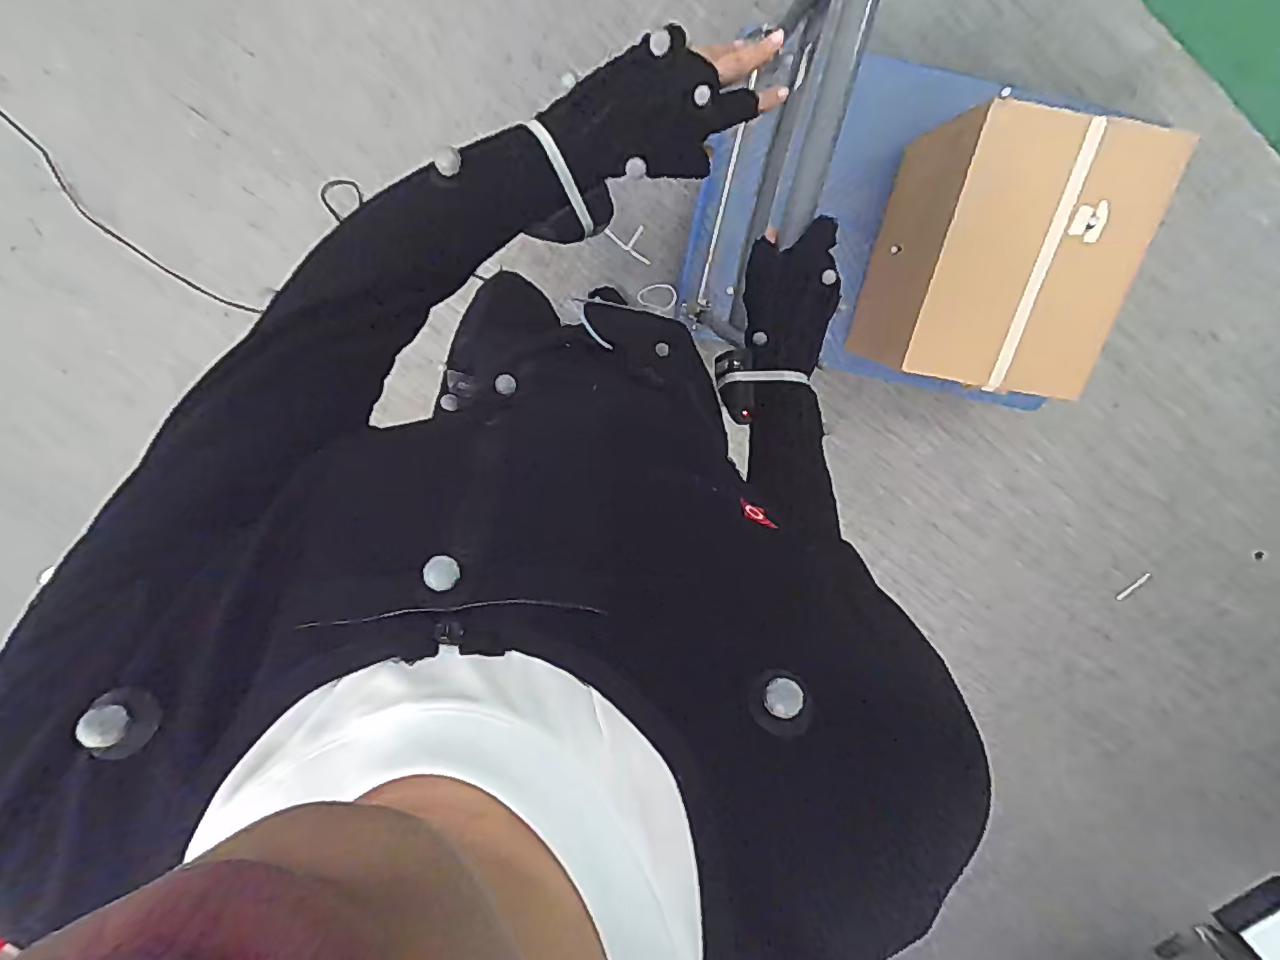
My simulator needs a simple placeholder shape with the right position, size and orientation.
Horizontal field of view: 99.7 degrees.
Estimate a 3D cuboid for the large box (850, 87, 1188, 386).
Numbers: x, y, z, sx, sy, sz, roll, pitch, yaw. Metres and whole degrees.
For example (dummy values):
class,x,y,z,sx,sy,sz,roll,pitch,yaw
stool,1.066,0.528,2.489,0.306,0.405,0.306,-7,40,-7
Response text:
class,x,y,z,sx,sy,sz,roll,pitch,yaw
large box,0.632,-0.415,0.996,0.320,0.320,0.408,9,110,-2
